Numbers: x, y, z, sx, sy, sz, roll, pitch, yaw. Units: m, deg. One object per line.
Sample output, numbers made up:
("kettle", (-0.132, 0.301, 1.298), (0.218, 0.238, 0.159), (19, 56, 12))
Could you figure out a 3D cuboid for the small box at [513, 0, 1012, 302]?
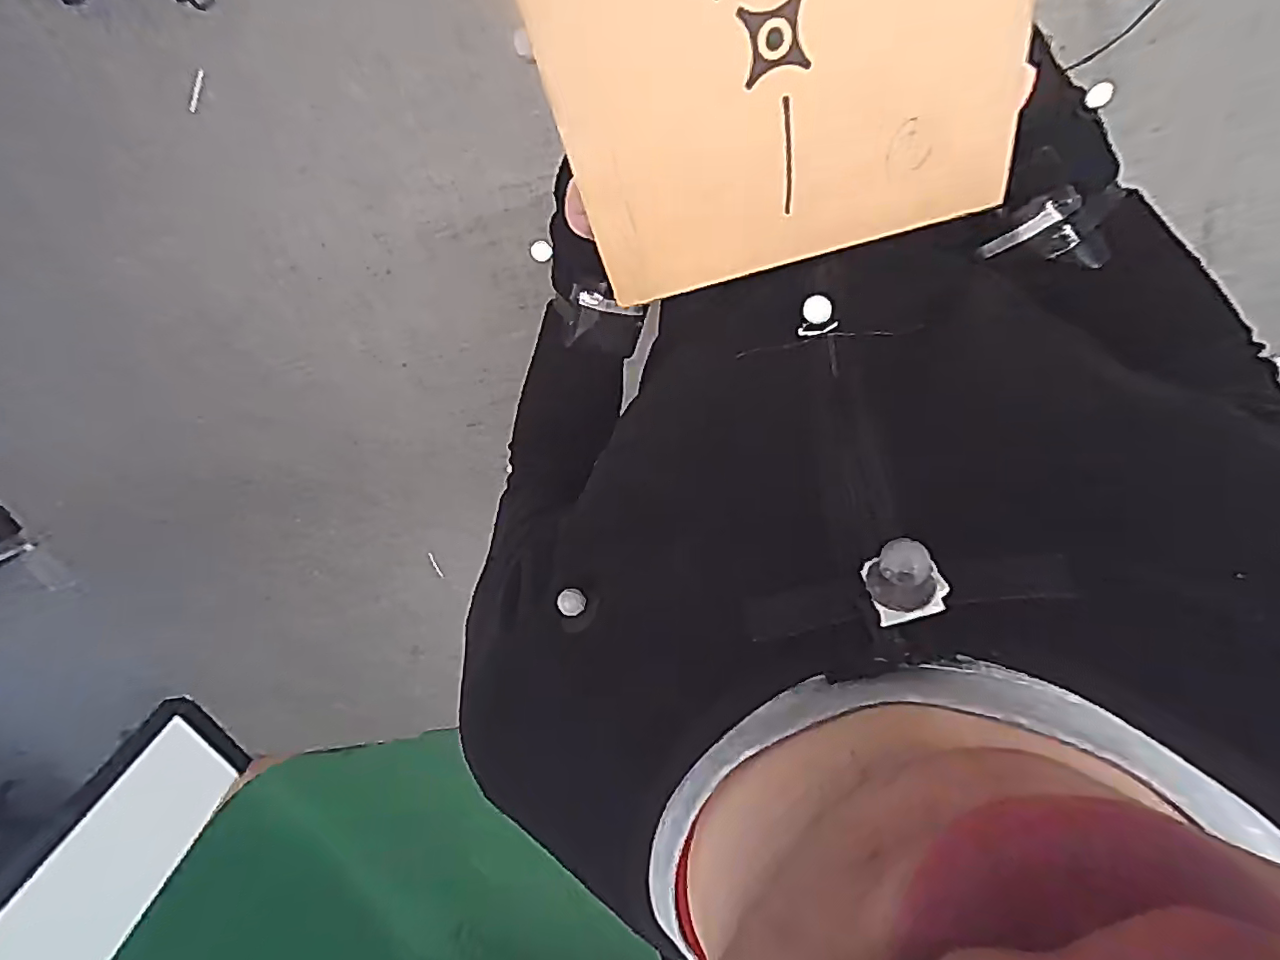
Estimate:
("small box", (0.040, -0.214, 0.243), (0.168, 0.176, 0.179), (-13, 131, 11))
